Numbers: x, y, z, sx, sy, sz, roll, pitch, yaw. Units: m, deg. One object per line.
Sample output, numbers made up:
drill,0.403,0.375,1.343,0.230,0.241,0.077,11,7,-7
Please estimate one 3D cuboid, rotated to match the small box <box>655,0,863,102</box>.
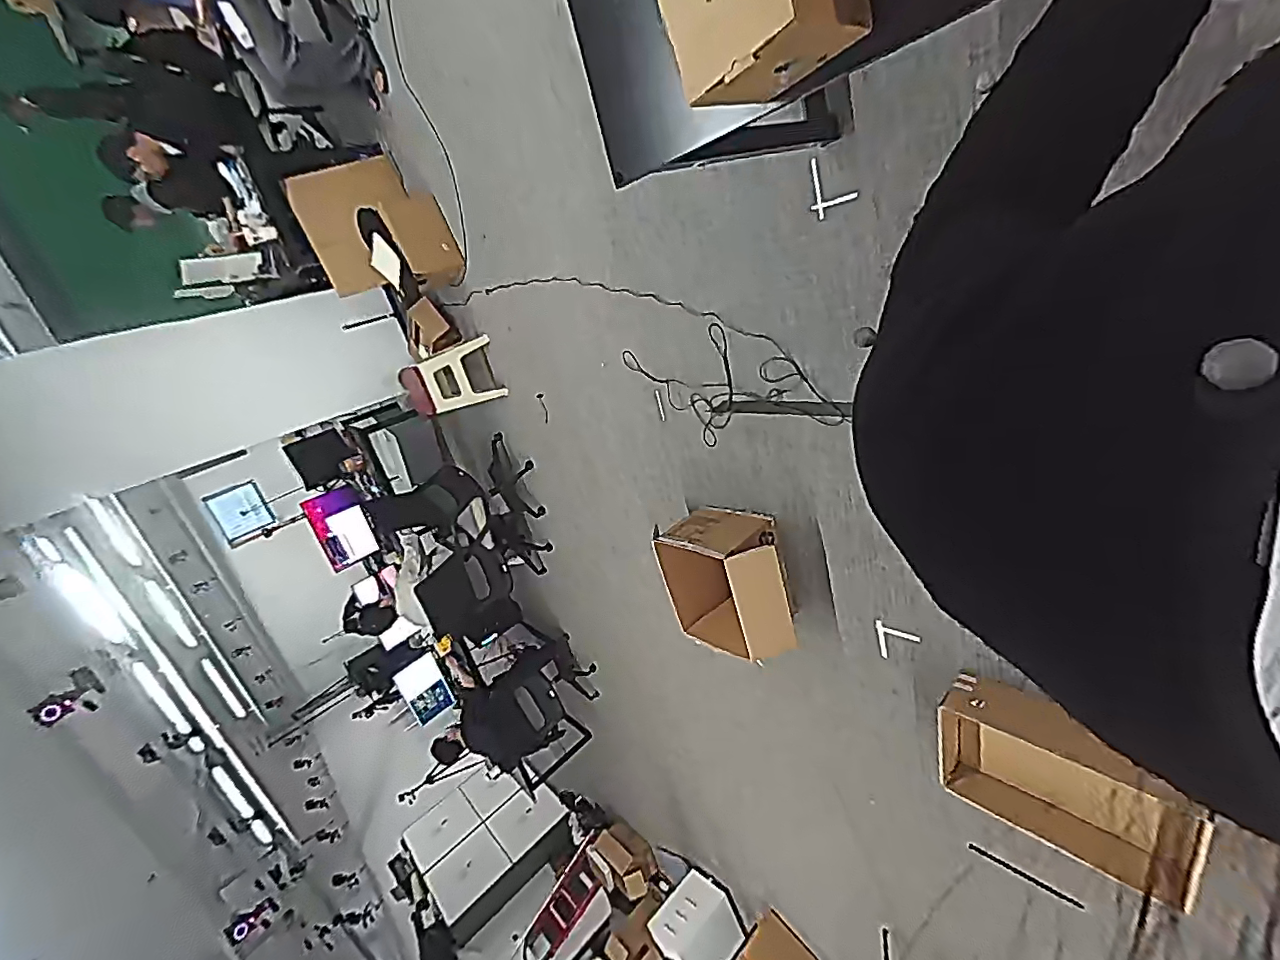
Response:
small box,0.136,-0.587,0.637,0.168,0.176,0.179,1,116,52
